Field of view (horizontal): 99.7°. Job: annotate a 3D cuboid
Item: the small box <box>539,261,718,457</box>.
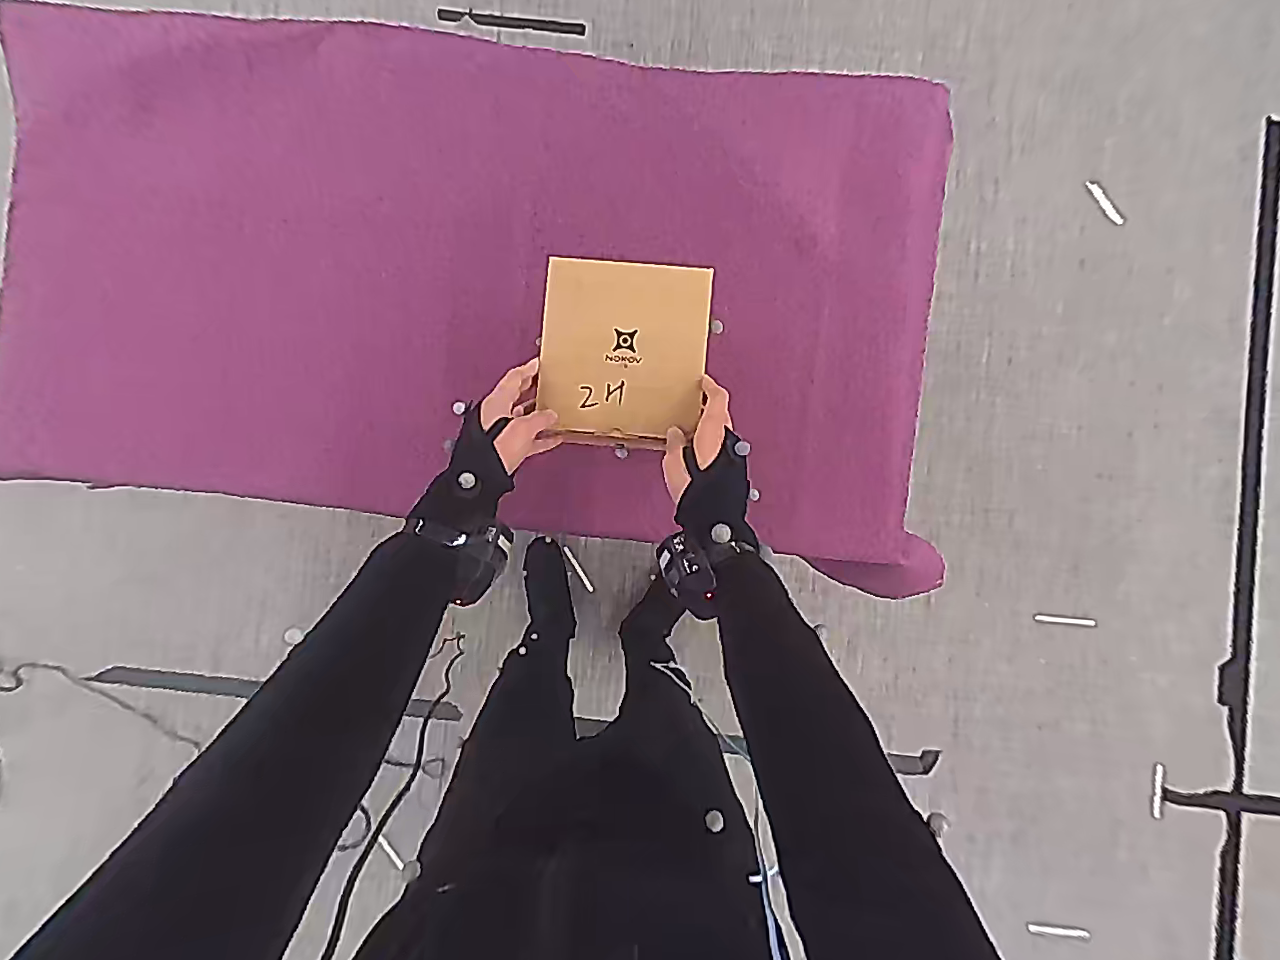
[{"bbox_3d":[-0.009,-0.125,0.620,0.168,0.176,0.179,6,90,2],"label":"small box"}]
